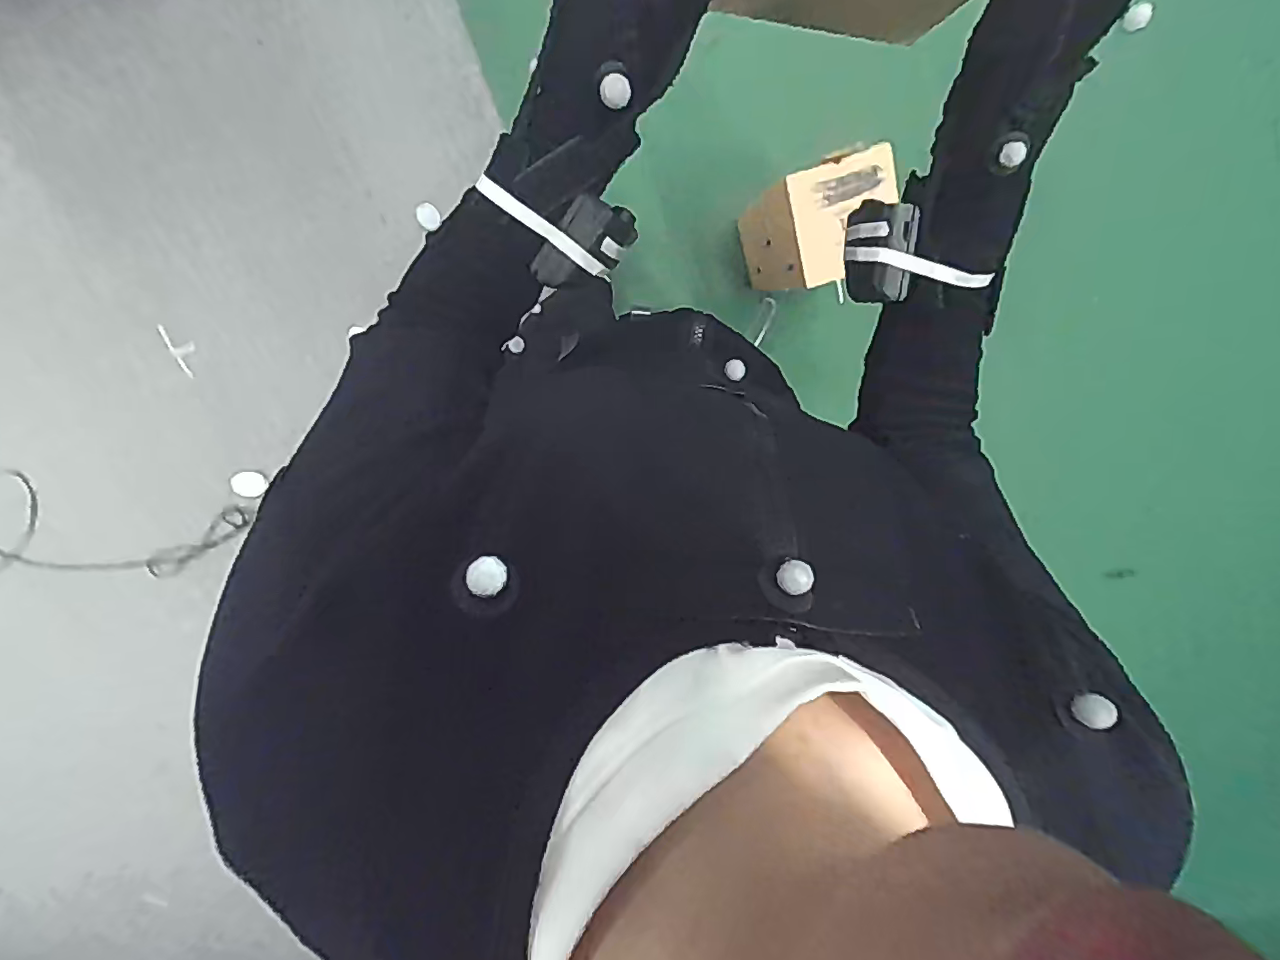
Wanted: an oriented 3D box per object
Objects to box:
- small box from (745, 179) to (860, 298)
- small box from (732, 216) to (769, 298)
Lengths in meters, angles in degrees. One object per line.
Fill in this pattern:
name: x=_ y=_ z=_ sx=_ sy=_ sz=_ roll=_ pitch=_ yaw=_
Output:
small box: x=0.322 y=-0.480 z=1.097 sx=0.168 sy=0.176 sz=0.179 roll=-16 pitch=108 yaw=4
small box: x=0.324 y=-0.535 z=1.250 sx=0.168 sy=0.176 sz=0.179 roll=-17 pitch=108 yaw=4
